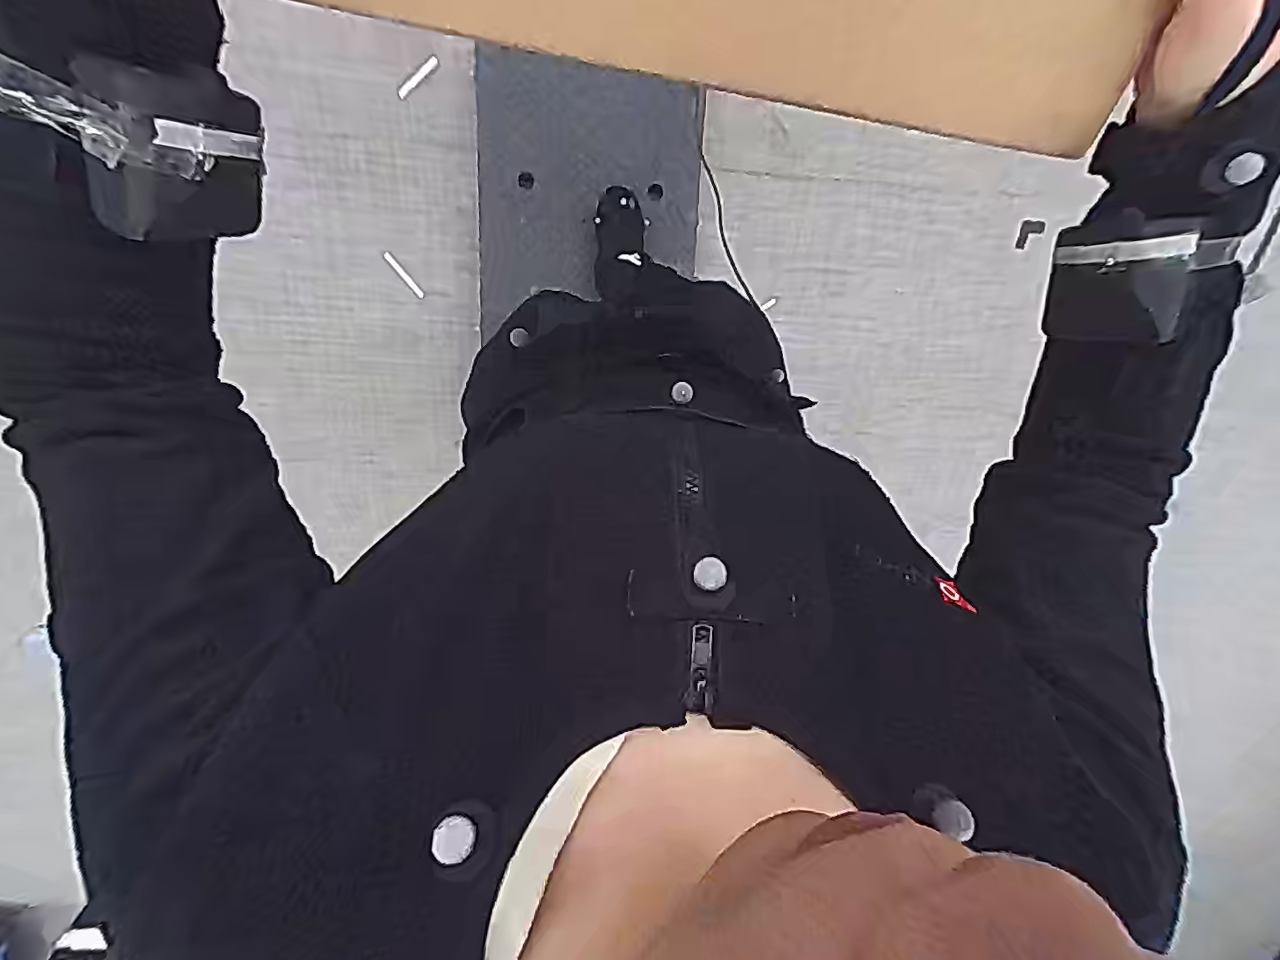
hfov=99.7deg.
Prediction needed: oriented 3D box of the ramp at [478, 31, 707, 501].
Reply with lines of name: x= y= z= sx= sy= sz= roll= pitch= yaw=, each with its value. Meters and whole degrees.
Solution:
ramp: x=-0.119 y=-0.436 z=1.251 sx=0.509 sy=0.206 sz=0.991 roll=0 pitch=113 yaw=-6

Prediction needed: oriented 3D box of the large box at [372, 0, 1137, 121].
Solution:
large box: x=0.038 y=-0.409 z=0.266 sx=0.408 sy=0.320 sz=0.320 roll=4 pitch=131 yaw=-10
